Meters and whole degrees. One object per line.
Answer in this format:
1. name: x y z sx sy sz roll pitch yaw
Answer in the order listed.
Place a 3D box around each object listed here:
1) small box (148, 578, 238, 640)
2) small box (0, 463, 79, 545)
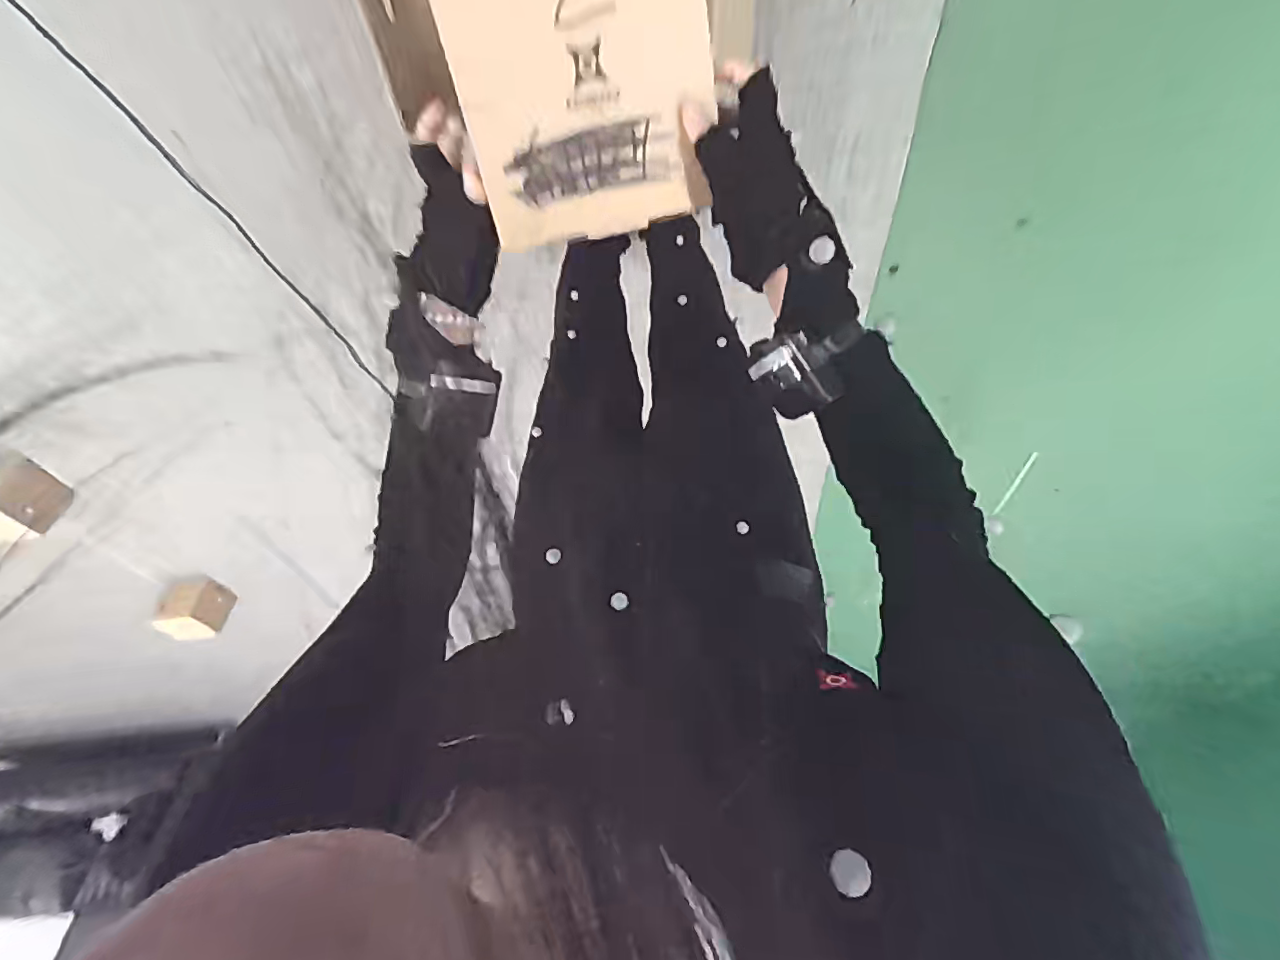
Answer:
1. small box: -1.710 0.496 2.081 0.179 0.176 0.168 -7 140 4
2. small box: -1.815 0.063 1.560 0.168 0.176 0.179 -7 140 4
